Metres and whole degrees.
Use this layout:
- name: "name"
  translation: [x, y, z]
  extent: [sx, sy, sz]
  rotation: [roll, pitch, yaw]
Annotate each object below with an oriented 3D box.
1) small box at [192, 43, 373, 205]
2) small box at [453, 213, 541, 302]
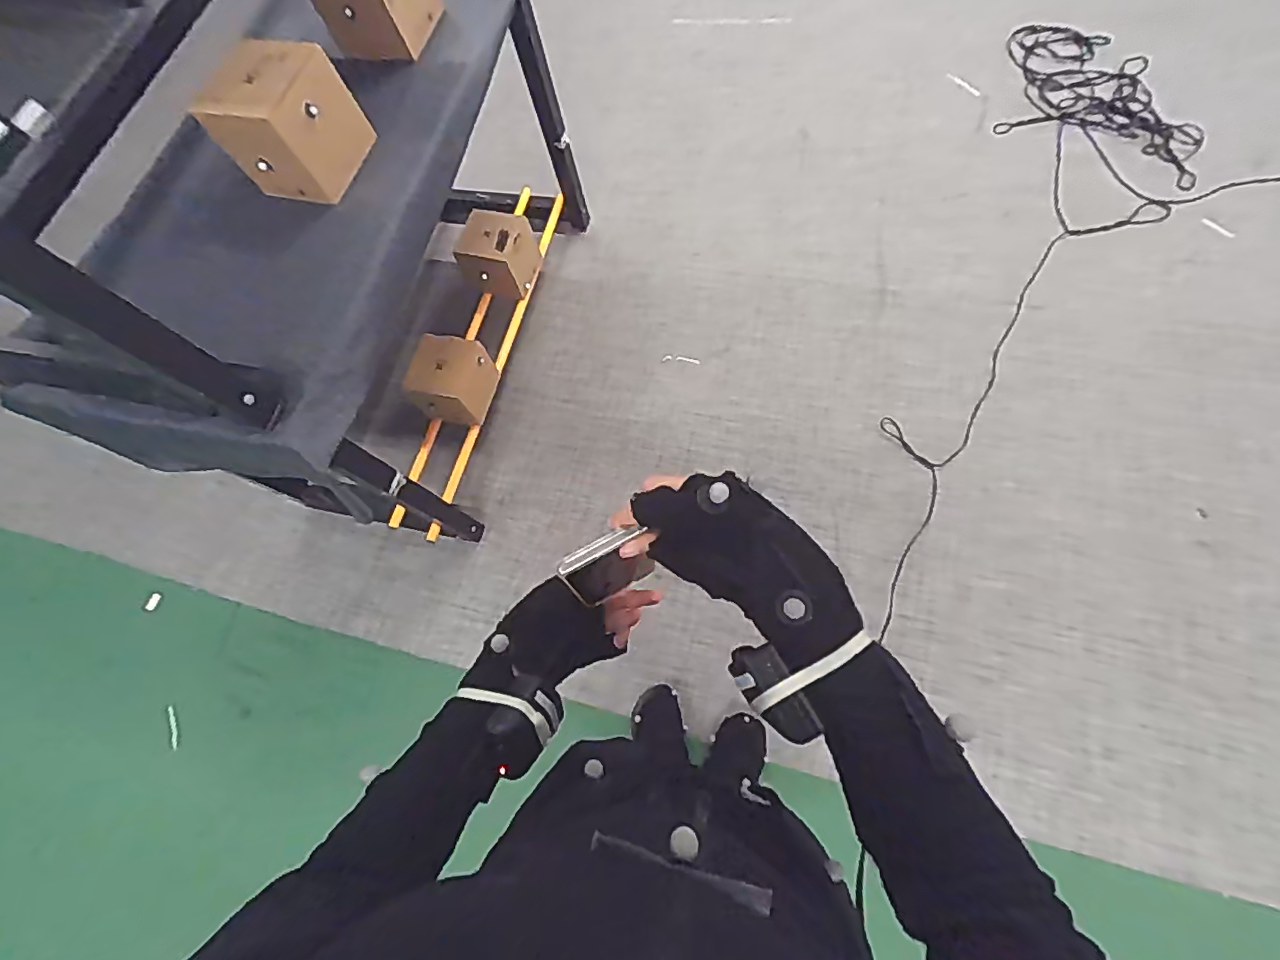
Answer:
- name: "small box"
  translation: [-0.611, -0.618, 0.951]
  extent: [0.168, 0.176, 0.179]
  rotation: [14, 72, 13]
- name: "small box"
  translation: [-0.415, -0.656, 1.609]
  extent: [0.179, 0.176, 0.168]
  rotation: [14, 72, 13]
